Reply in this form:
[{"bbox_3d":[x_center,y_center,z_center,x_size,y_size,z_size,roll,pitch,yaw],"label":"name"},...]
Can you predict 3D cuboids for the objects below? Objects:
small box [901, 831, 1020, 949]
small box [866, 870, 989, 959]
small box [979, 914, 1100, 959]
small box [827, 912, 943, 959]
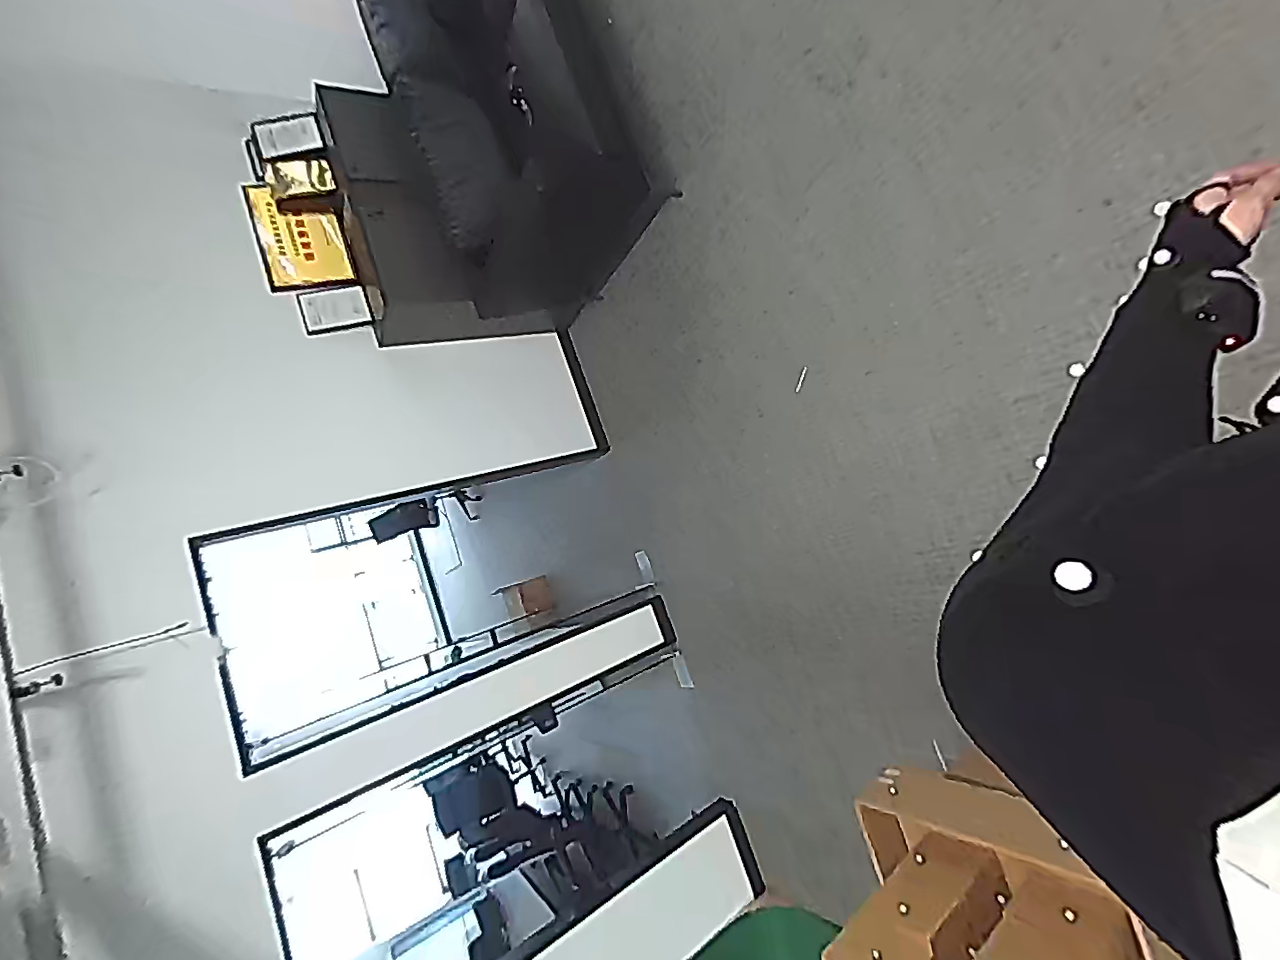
[{"bbox_3d":[0.803,1.026,1.358,0.179,0.176,0.168,-26,81,56],"label":"small box"},{"bbox_3d":[0.676,1.060,1.266,0.179,0.176,0.168,-27,80,54],"label":"small box"},{"bbox_3d":[0.799,1.012,1.056,0.179,0.176,0.168,-6,97,58],"label":"small box"},{"bbox_3d":[0.544,1.101,1.177,0.179,0.176,0.168,-10,94,55],"label":"small box"}]
